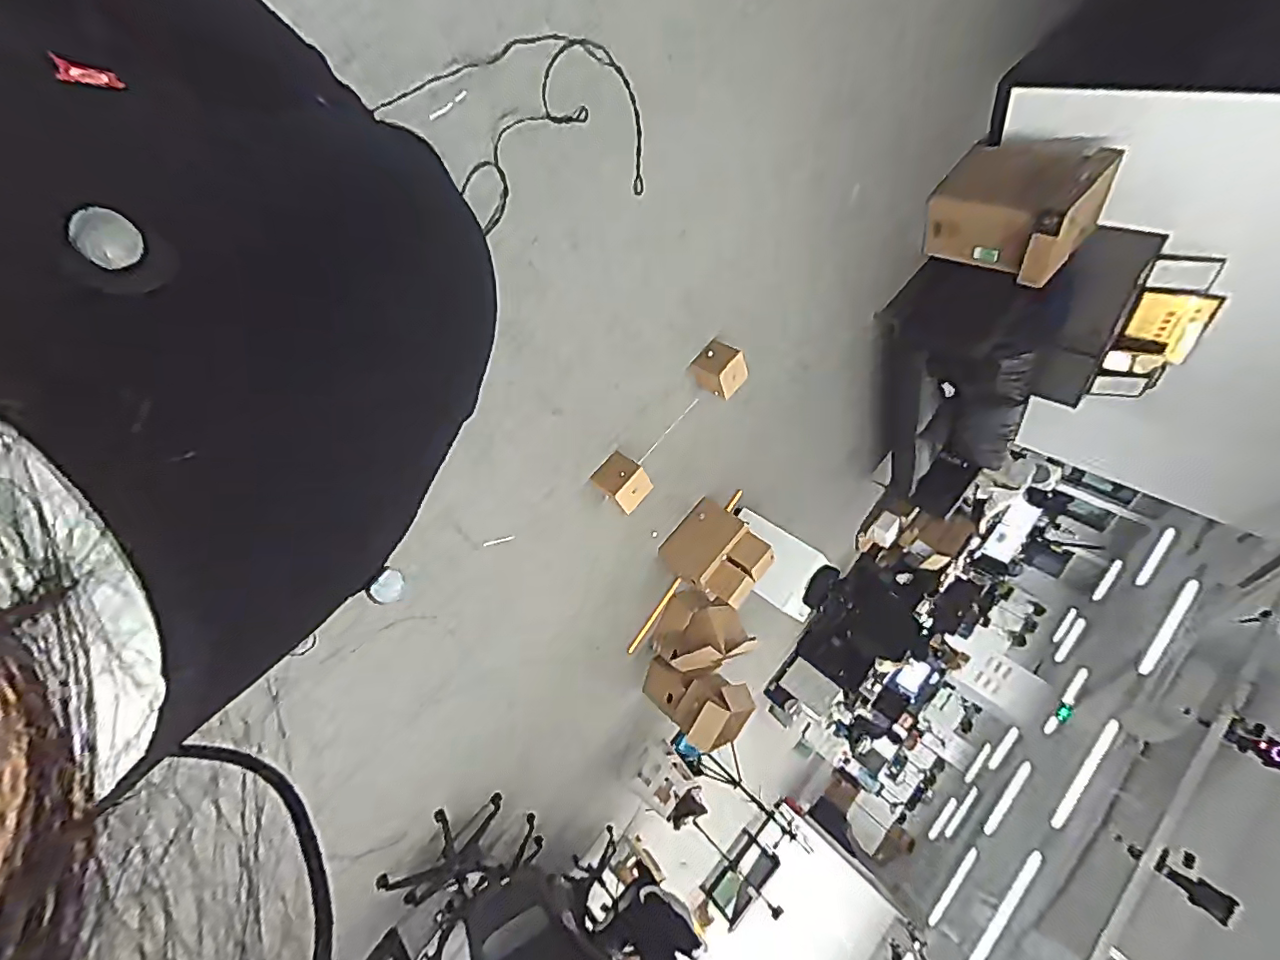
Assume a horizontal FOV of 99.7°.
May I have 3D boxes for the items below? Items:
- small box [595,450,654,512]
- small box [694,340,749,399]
[{"bbox_3d":[-0.073,0.001,2.345,0.179,0.176,0.168,-49,144,-11],"label":"small box"},{"bbox_3d":[0.371,-0.507,2.465,0.168,0.176,0.179,-48,144,-11],"label":"small box"}]
